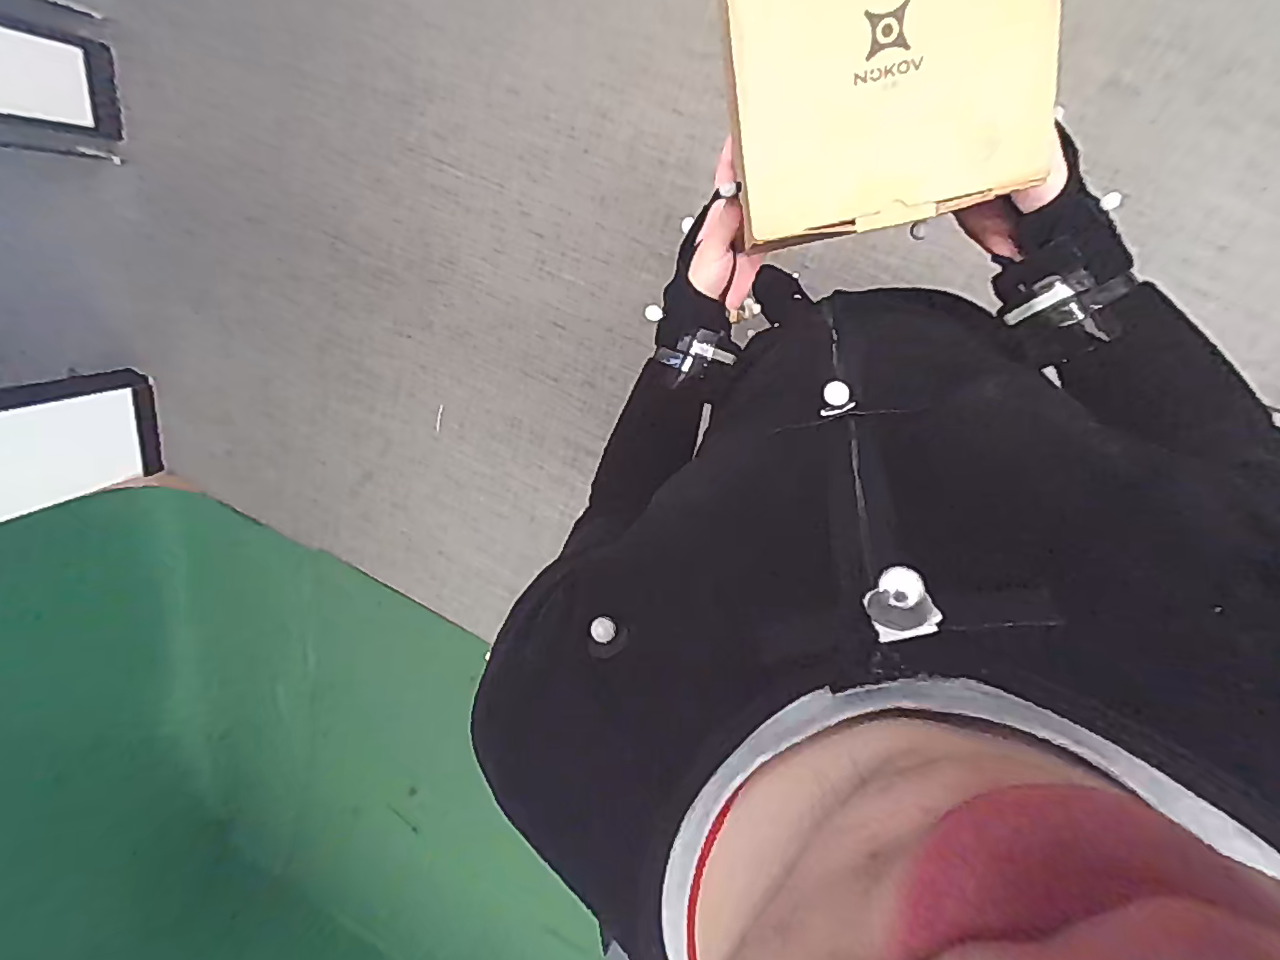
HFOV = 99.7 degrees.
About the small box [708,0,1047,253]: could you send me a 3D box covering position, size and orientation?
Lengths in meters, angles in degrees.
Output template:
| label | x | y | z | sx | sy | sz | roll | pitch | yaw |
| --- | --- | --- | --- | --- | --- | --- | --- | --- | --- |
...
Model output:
| label | x | y | z | sx | sy | sz | roll | pitch | yaw |
| --- | --- | --- | --- | --- | --- | --- | --- | --- | --- |
| small box | 0.139 | -0.260 | 0.366 | 0.168 | 0.176 | 0.179 | -8 | 108 | 12 |
